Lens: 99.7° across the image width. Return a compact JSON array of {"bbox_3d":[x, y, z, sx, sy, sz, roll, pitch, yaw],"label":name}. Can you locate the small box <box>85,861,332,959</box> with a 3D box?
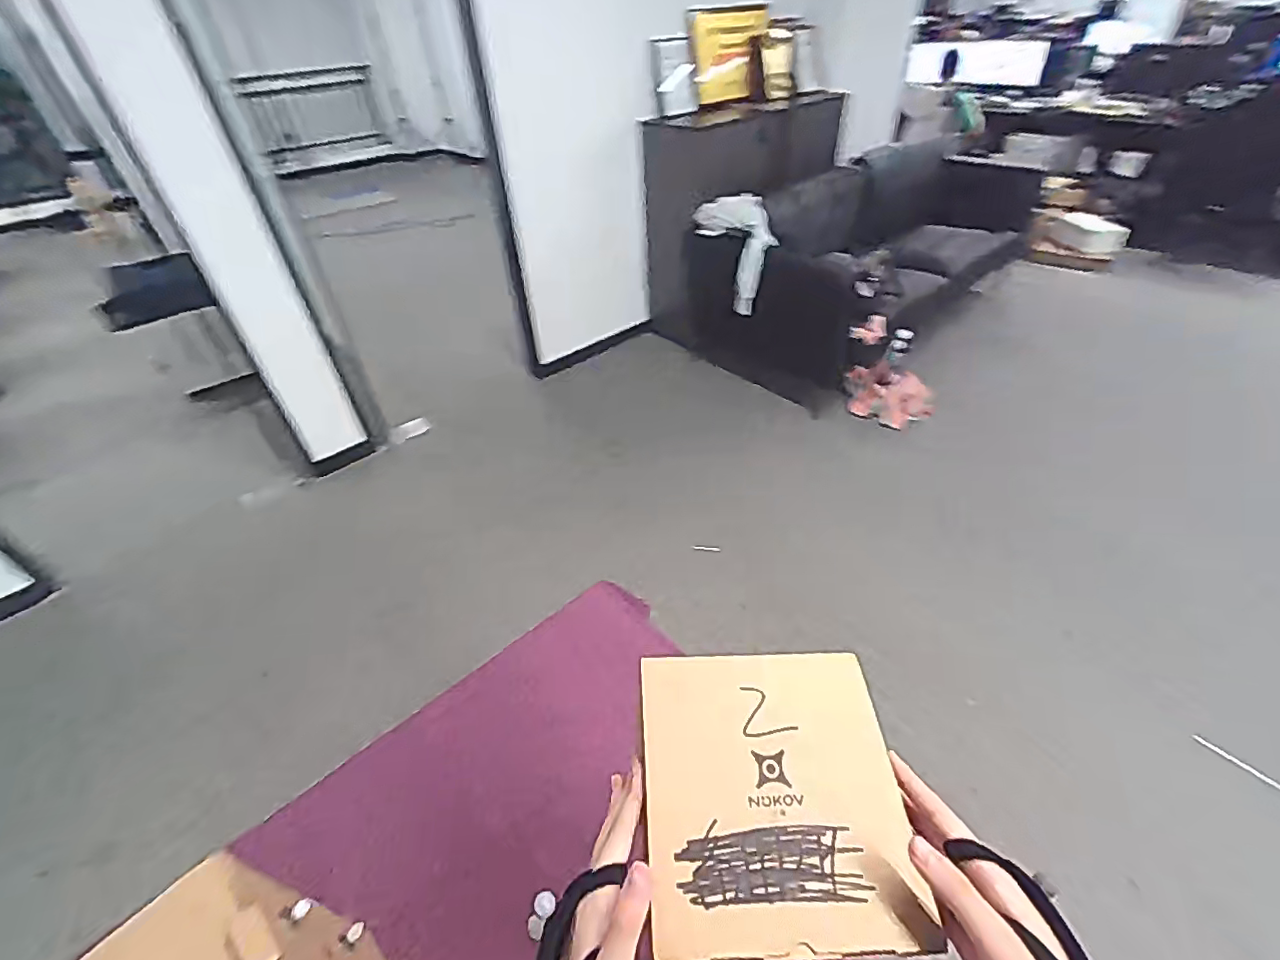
[{"bbox_3d":[-0.318,0.427,0.379,0.168,0.176,0.179,29,51,33],"label":"small box"}]

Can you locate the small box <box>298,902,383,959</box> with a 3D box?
[{"bbox_3d":[-0.311,0.546,0.491,0.179,0.176,0.168,28,51,30],"label":"small box"}]
